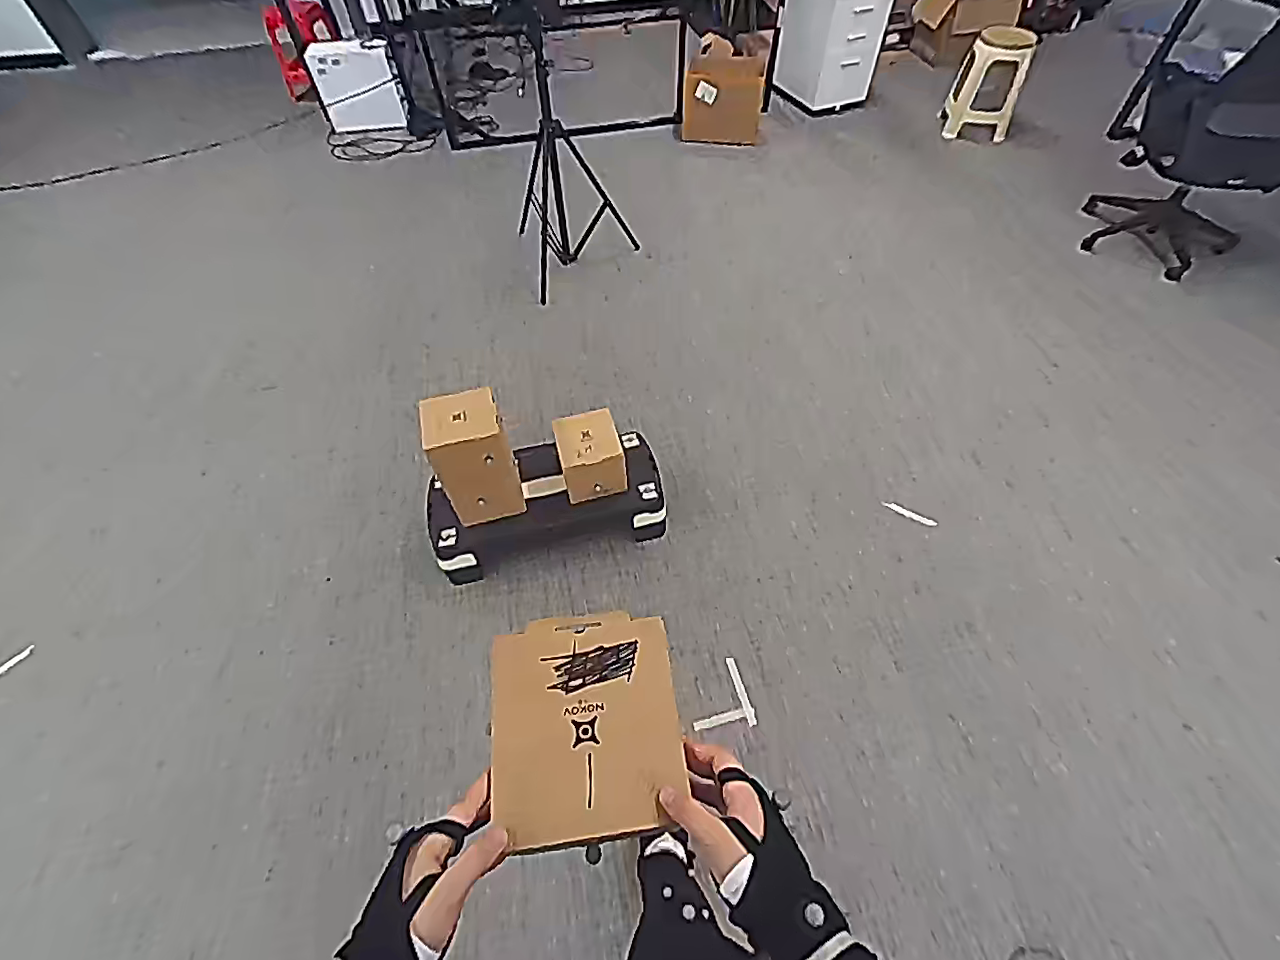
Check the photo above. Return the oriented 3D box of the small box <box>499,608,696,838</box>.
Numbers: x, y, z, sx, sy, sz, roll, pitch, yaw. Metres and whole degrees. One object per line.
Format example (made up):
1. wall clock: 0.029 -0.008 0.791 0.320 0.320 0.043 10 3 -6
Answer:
1. small box: -0.048 0.252 0.555 0.168 0.176 0.179 -6 56 -6

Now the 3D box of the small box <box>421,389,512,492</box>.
1. small box: -0.424 -0.094 1.342 0.179 0.176 0.168 -15 54 -9

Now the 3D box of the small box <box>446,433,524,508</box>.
1. small box: -0.421 0.001 1.475 0.179 0.176 0.168 -15 55 -8

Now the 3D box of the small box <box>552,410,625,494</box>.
1. small box: -0.141 -0.065 1.514 0.168 0.176 0.179 -14 55 -7
